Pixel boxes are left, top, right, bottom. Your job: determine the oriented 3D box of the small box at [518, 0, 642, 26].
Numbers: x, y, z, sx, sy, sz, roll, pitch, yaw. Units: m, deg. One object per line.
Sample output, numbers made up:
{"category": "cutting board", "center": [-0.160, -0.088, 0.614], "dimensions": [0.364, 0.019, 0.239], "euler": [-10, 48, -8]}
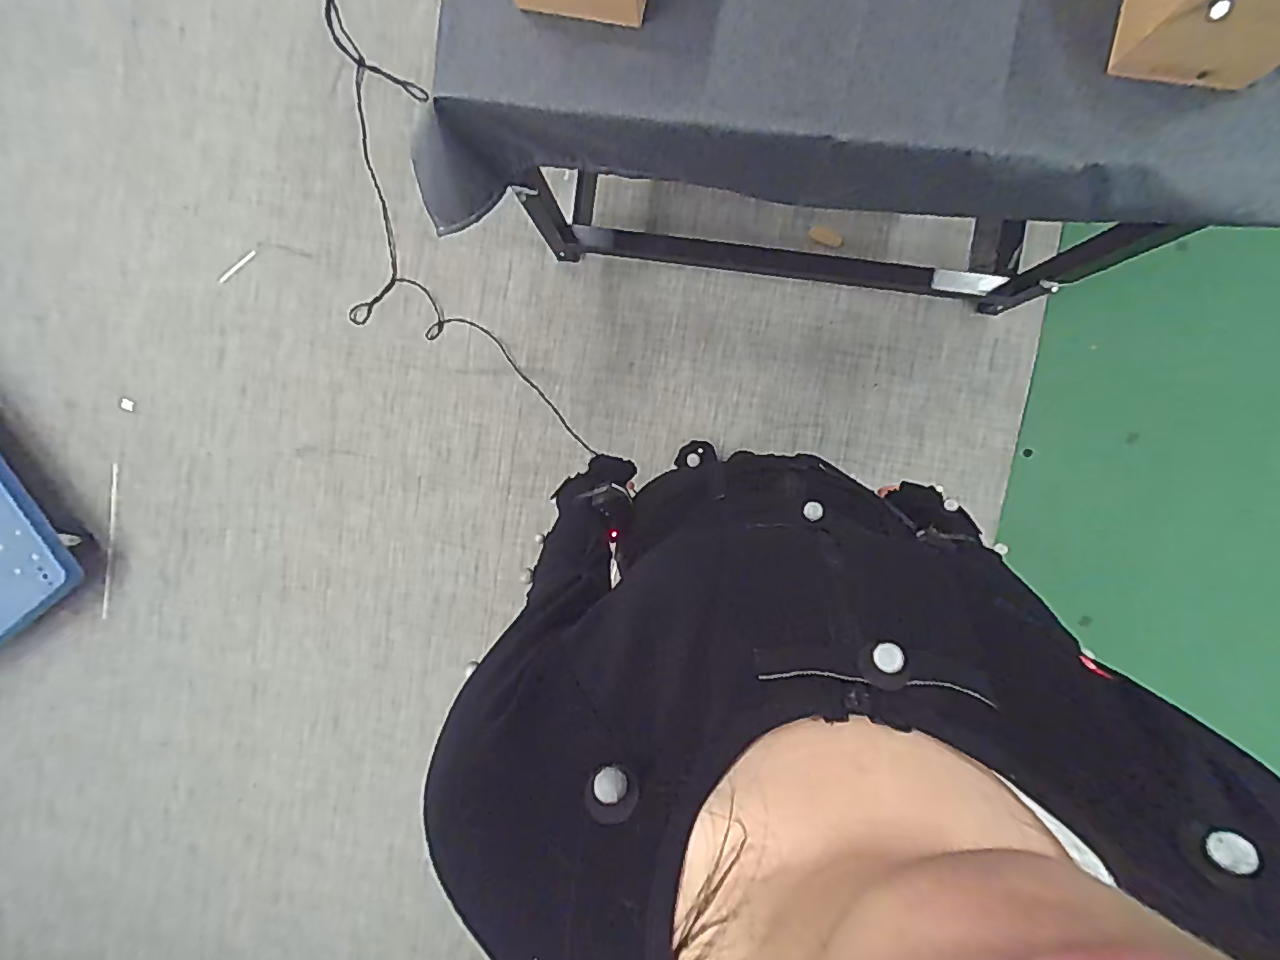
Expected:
{"category": "small box", "center": [-0.073, -0.702, 0.653], "dimensions": [0.179, 0.176, 0.168], "euler": [12, 94, 3]}
